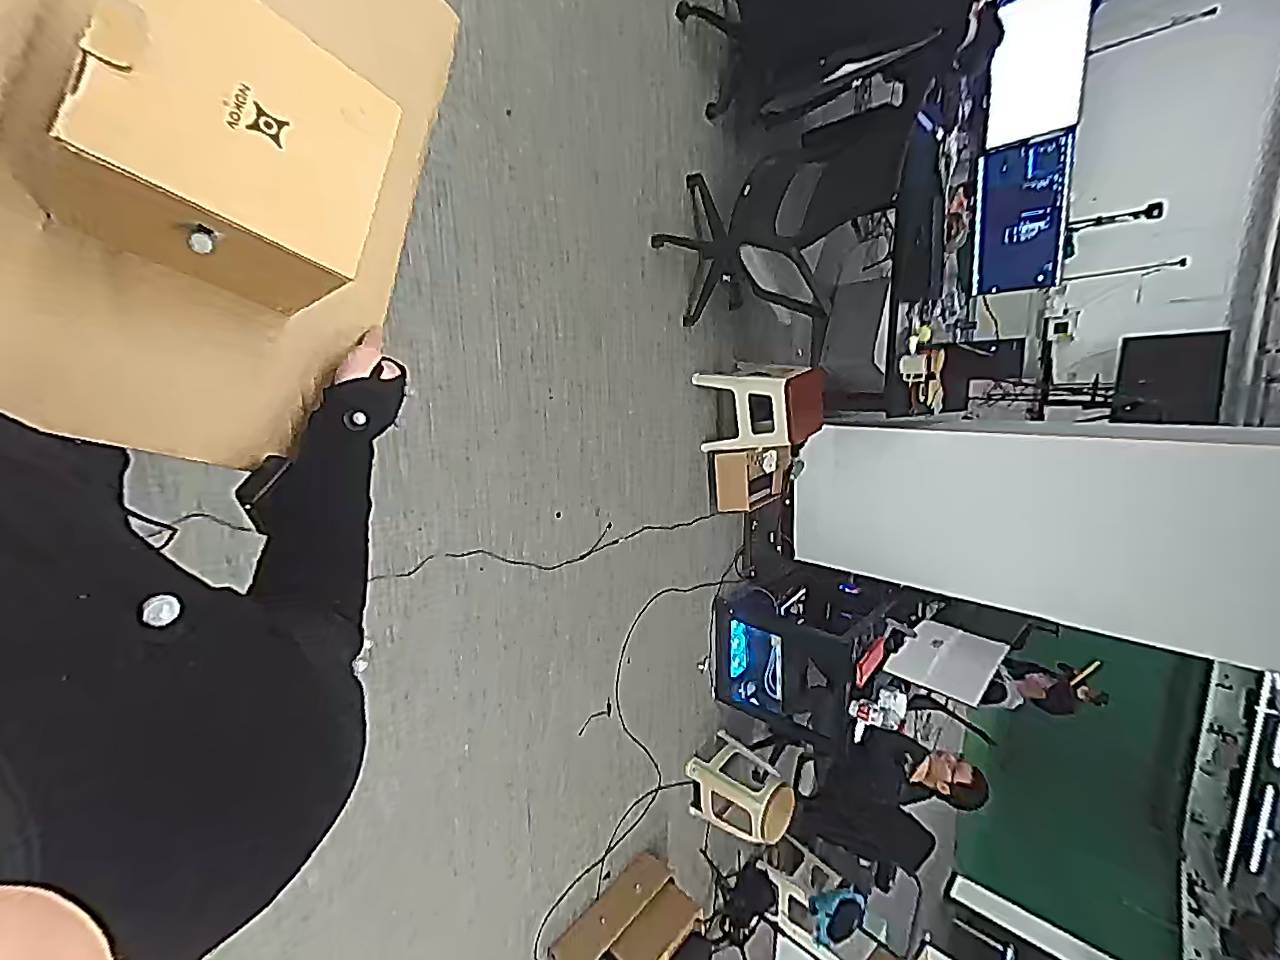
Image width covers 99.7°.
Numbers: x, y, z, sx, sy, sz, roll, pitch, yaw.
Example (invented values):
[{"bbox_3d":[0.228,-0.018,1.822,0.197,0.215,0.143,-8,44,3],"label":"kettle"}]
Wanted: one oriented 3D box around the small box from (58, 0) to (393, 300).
[{"bbox_3d":[-0.347,-0.270,0.460,0.179,0.176,0.168,18,78,-46],"label":"small box"}]
